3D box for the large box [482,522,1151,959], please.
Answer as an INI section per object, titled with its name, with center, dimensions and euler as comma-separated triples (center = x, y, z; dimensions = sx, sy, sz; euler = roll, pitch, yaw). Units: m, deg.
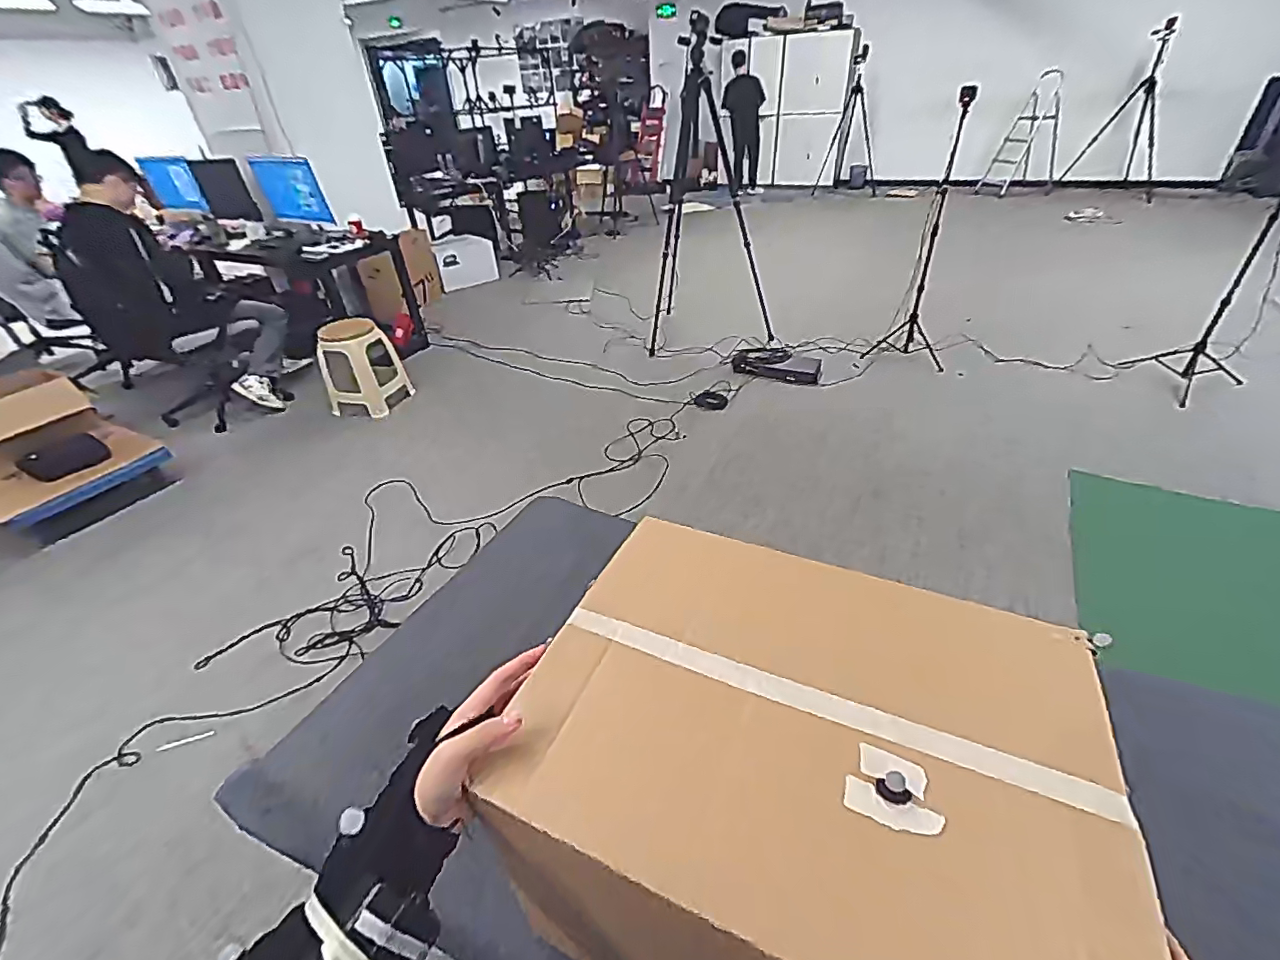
[large box]
center = 0.130, 0.289, 0.505
dimensions = 0.408, 0.320, 0.320
euler = 14, 39, 21
